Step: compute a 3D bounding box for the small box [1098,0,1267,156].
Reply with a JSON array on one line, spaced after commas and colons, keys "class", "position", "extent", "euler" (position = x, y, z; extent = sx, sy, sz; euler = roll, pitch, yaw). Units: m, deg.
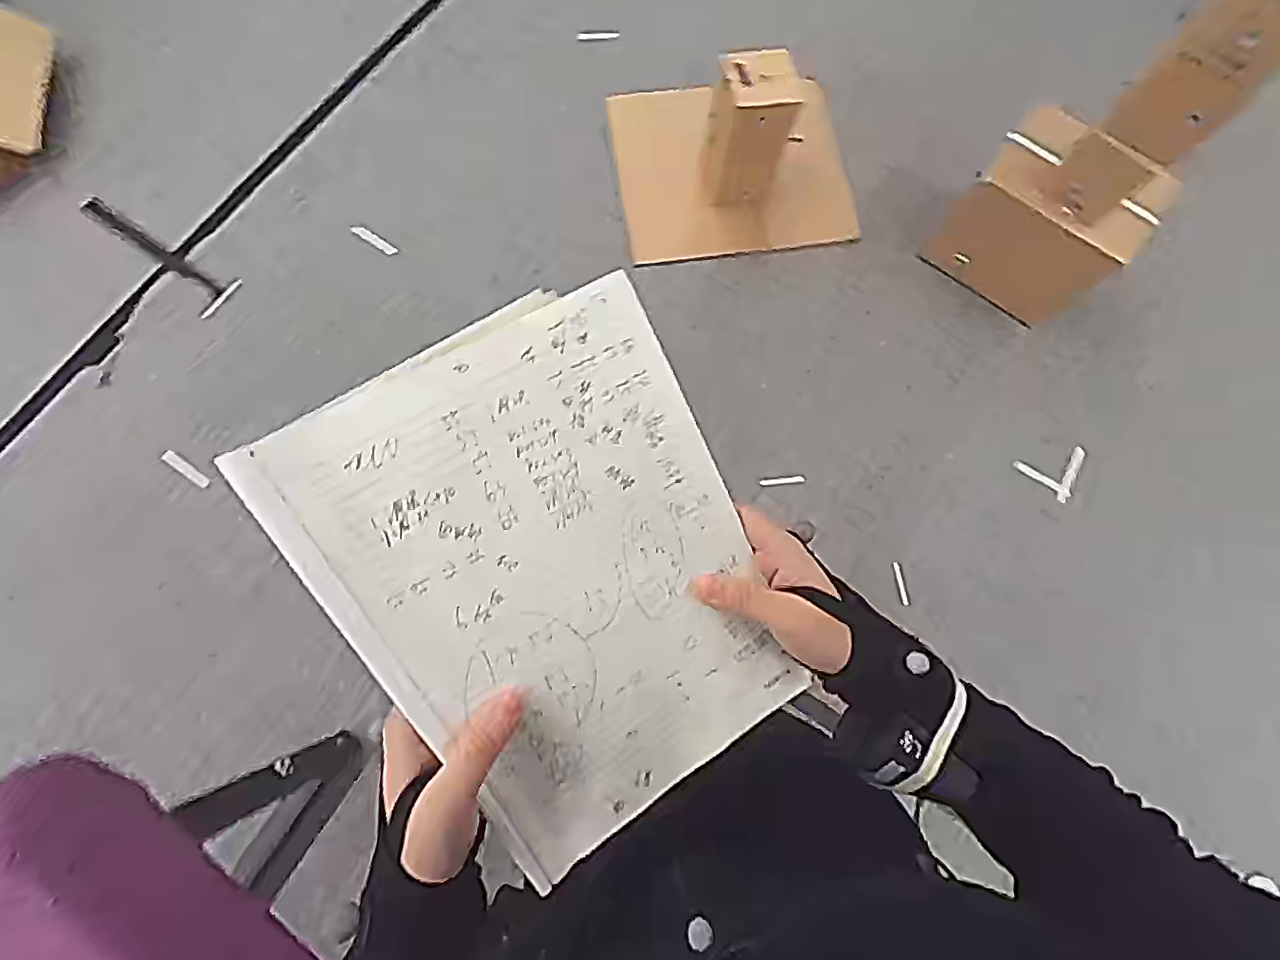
[{"class": "small box", "position": [1.094, -0.796, 1.085], "extent": [0.179, 0.176, 0.168], "euler": [35, 77, 8]}]

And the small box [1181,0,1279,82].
[{"class": "small box", "position": [1.105, -0.847, 0.928], "extent": [0.168, 0.176, 0.179], "euler": [38, 78, 7]}]

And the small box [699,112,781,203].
[{"class": "small box", "position": [0.282, -0.937, 1.566], "extent": [0.179, 0.176, 0.168], "euler": [-11, 78, -6]}]

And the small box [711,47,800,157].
[{"class": "small box", "position": [0.290, -0.975, 1.406], "extent": [0.179, 0.176, 0.168], "euler": [-10, 78, -6]}]
